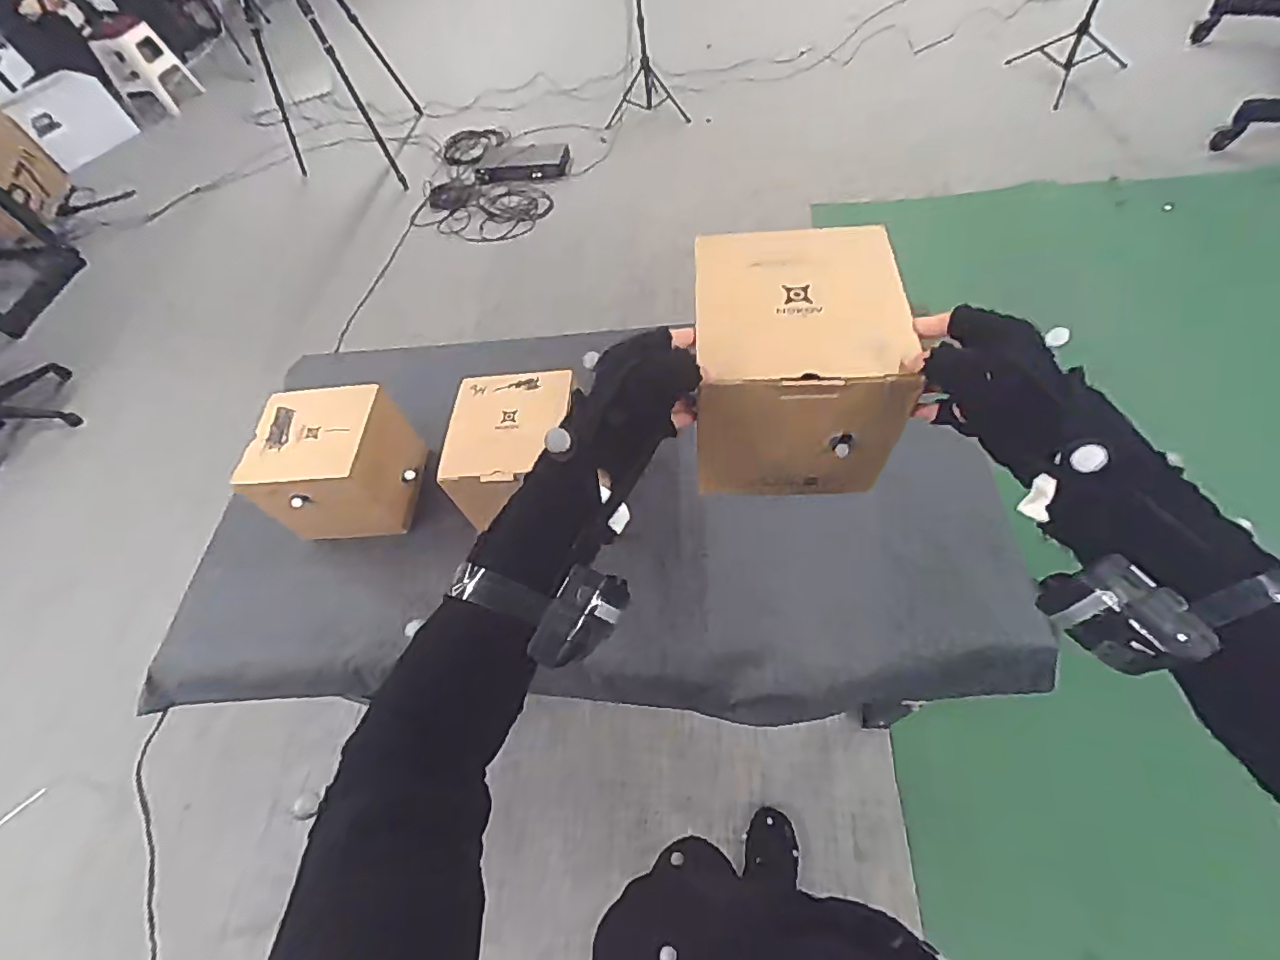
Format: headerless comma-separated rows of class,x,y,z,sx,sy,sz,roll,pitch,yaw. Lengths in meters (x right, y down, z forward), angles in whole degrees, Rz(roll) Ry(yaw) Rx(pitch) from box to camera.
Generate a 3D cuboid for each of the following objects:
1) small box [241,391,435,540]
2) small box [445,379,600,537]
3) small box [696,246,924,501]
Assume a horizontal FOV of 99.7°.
small box,-0.449,-0.016,0.837,0.179,0.176,0.168,-3,57,6
small box,-0.159,-0.024,0.798,0.168,0.176,0.179,-2,57,7
small box,0.137,-0.091,0.510,0.168,0.176,0.179,-1,56,5
